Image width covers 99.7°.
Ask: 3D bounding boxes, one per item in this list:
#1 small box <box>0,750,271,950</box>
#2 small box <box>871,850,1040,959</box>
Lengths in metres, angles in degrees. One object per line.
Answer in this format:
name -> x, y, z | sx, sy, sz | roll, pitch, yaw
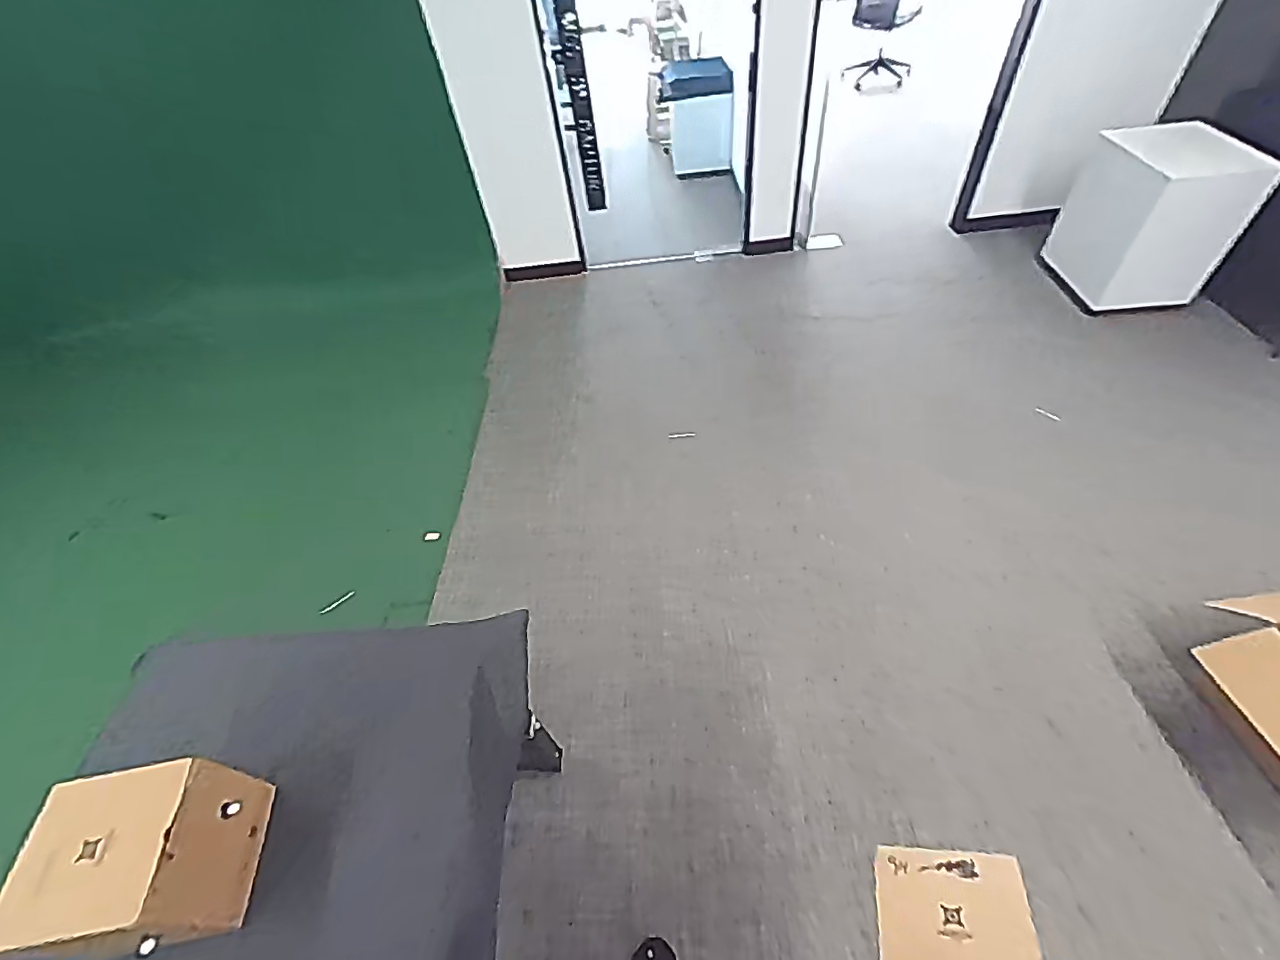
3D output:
small box -> -0.607, 0.458, 0.668 | 0.179, 0.176, 0.168 | -11, 47, -2
small box -> 0.384, 0.588, 0.643 | 0.168, 0.176, 0.179 | -14, 19, 26
